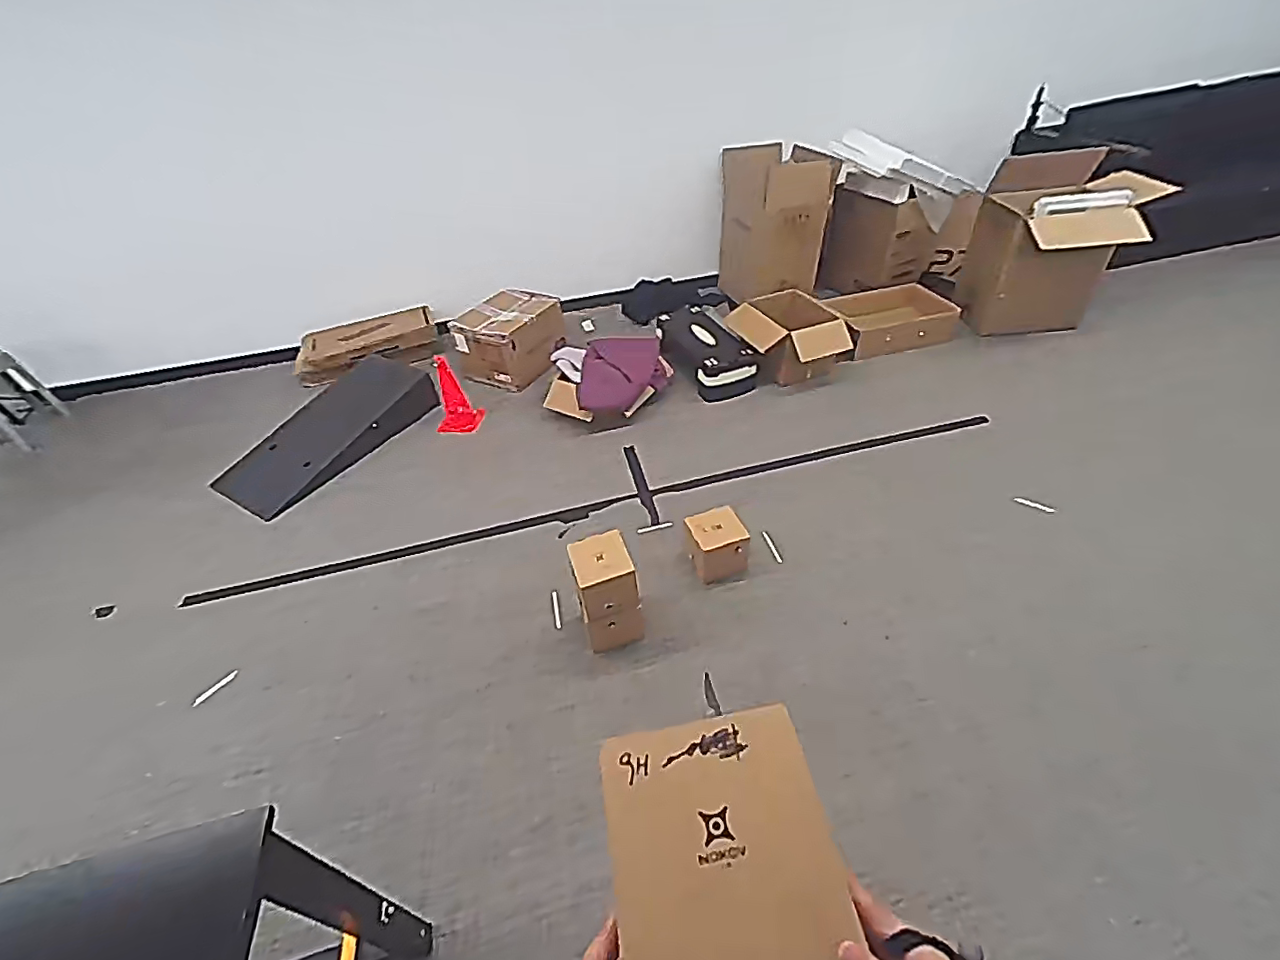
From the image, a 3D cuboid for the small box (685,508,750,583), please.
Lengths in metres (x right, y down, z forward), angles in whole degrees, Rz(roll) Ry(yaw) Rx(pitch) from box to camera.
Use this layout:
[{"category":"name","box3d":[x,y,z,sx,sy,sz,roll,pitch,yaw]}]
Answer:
[{"category":"small box","box3d":[0.266,0.229,1.894,0.179,0.176,0.168,-16,42,-12]}]

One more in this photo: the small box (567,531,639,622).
[{"category":"small box","box3d":[-0.109,0.289,1.619,0.168,0.176,0.179,-18,44,-11]}]

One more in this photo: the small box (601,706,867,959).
[{"category":"small box","box3d":[0.068,0.323,0.465,0.168,0.176,0.179,-11,49,-1]}]

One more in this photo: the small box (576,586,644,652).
[{"category":"small box","box3d":[-0.094,0.418,1.718,0.179,0.176,0.168,-14,42,-10]}]
